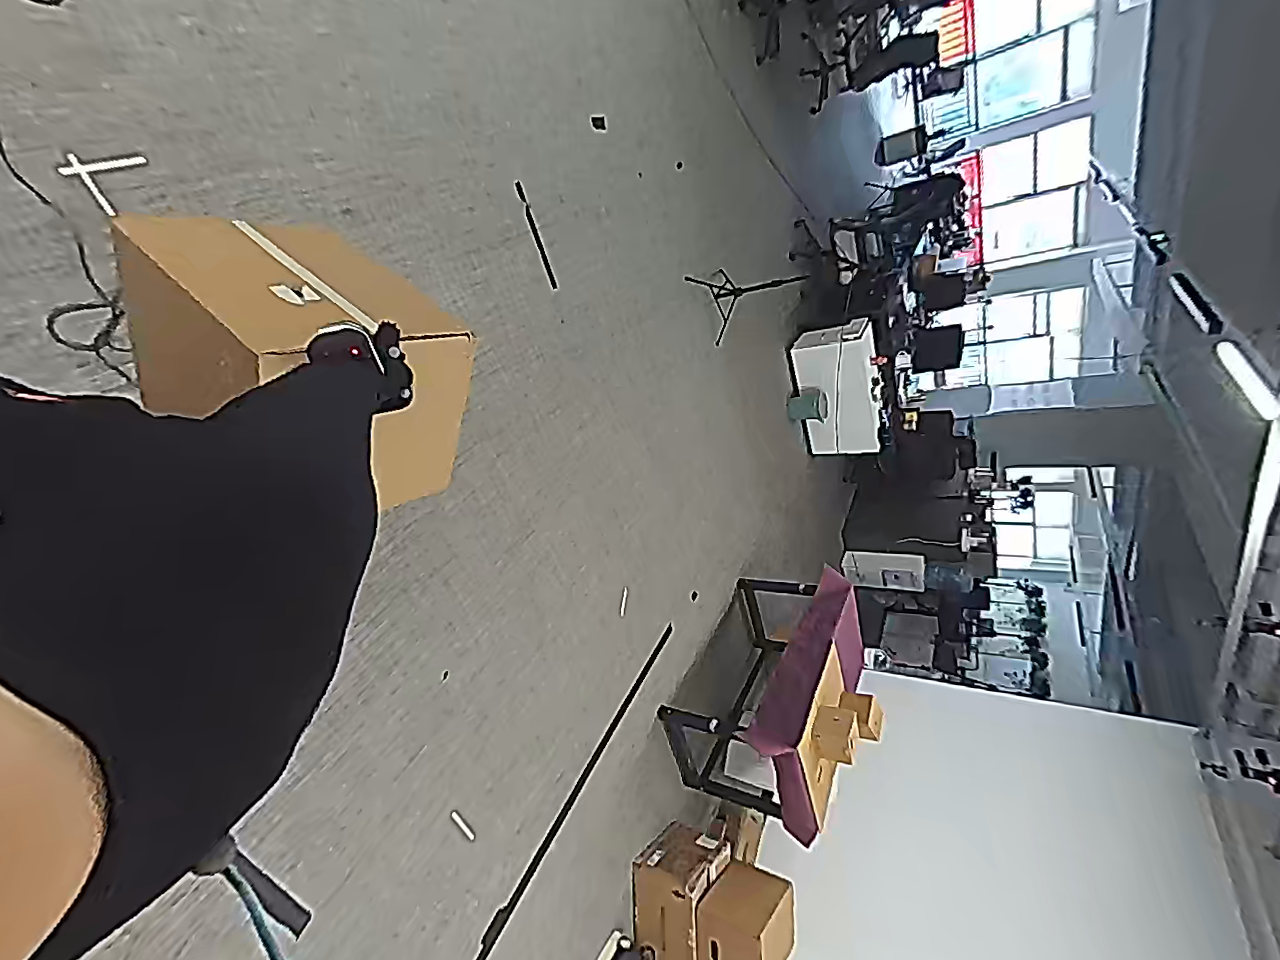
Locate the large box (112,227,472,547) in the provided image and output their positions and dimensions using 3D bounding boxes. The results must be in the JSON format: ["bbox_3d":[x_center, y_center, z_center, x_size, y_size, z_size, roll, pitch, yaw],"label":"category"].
[{"bbox_3d":[-0.552,-0.165,0.881,0.320,0.408,0.320,-29,149,-52],"label":"large box"}]
